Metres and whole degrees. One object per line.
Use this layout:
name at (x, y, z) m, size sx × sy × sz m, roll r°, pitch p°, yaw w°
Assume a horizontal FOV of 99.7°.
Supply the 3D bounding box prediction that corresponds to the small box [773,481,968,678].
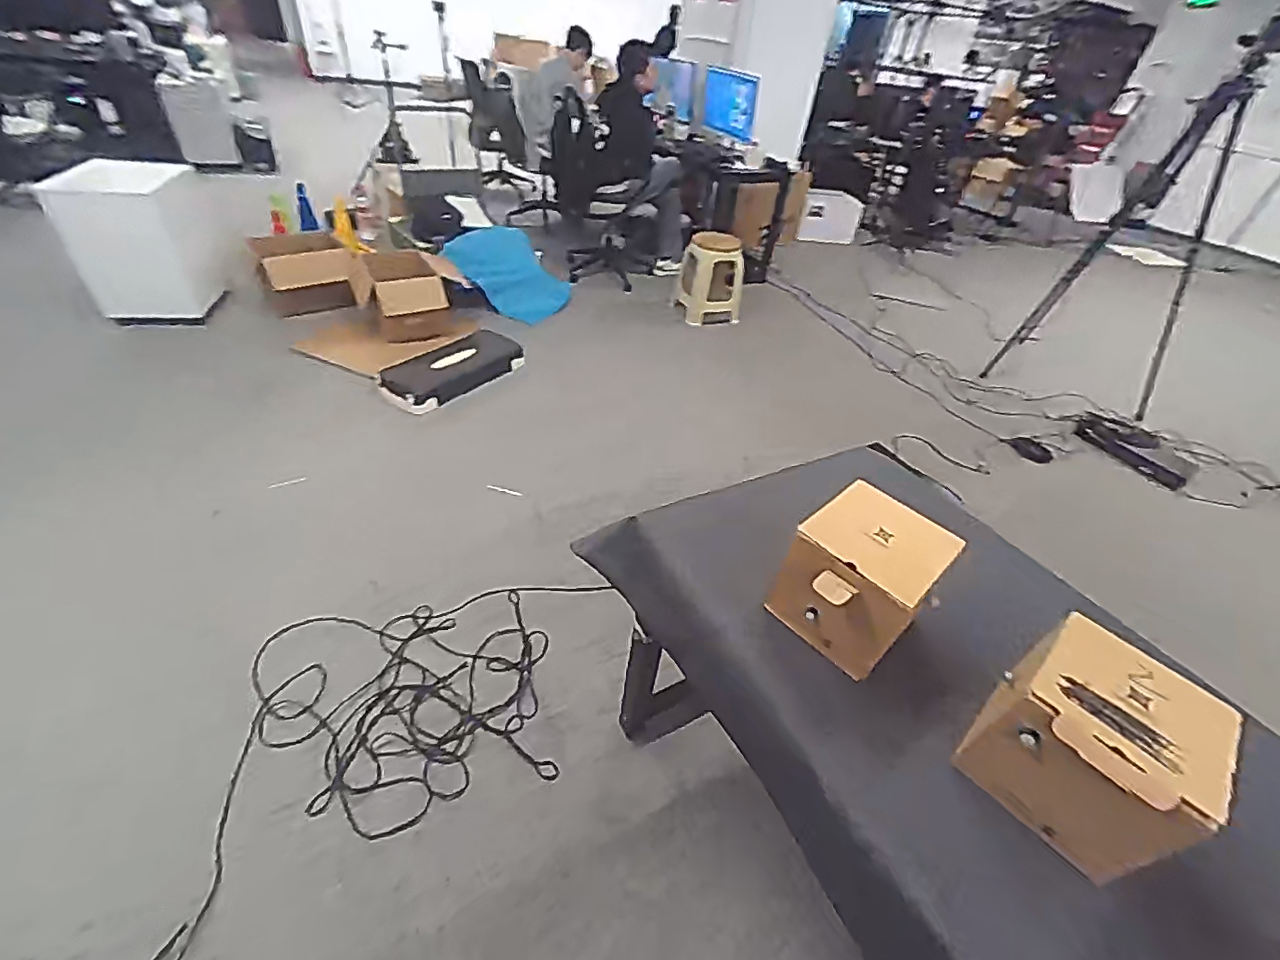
small box at (0.315, 0.137, 0.766) m, size 0.179 × 0.176 × 0.168 m, roll -29°, pitch 52°, yaw -35°
